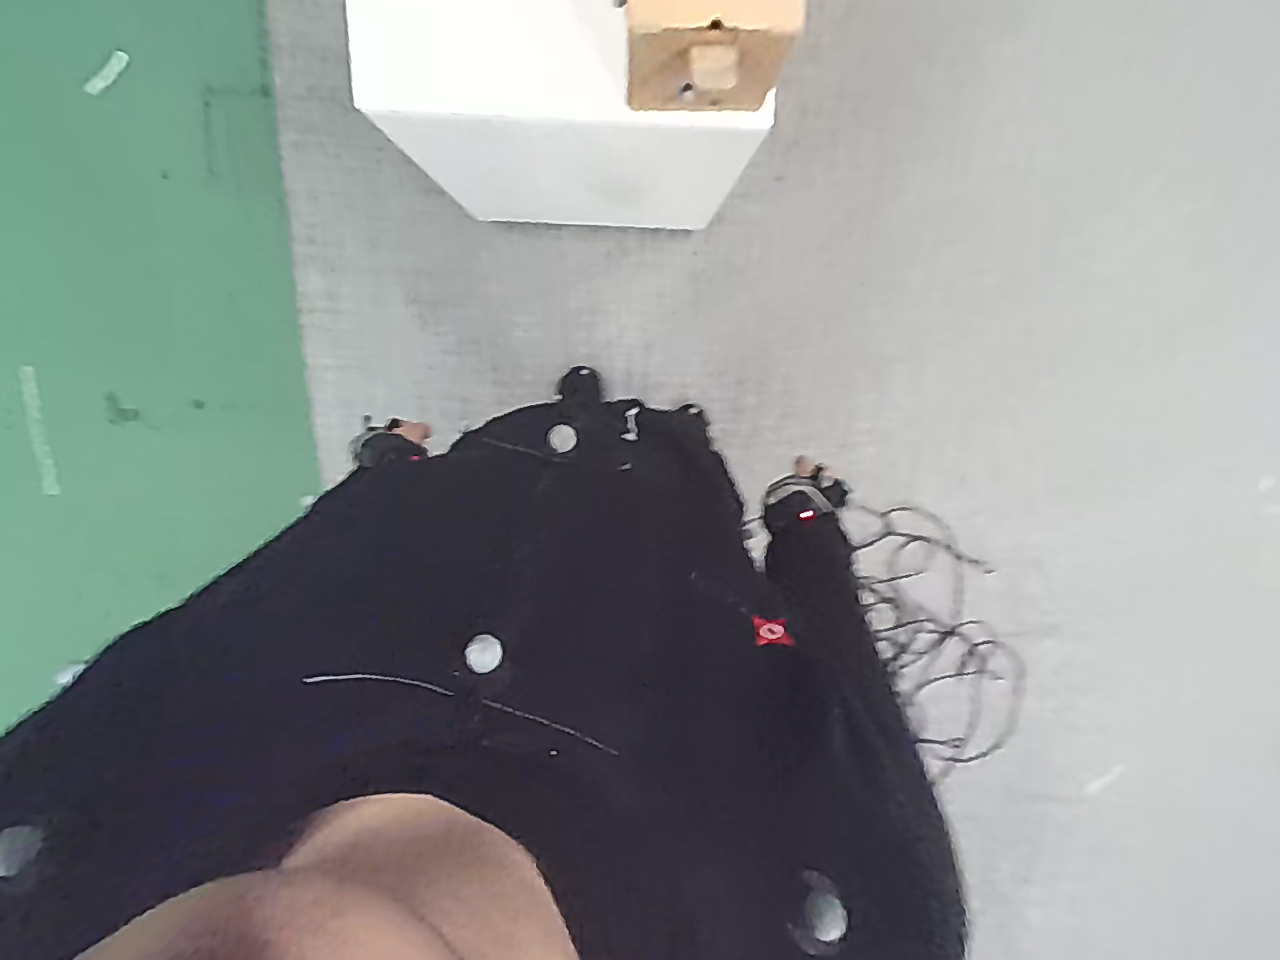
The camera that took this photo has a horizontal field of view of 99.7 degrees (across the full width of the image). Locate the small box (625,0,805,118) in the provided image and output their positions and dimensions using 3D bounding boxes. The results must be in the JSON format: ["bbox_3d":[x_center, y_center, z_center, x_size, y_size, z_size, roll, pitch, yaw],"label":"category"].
[{"bbox_3d":[0.069,-0.516,0.565,0.168,0.176,0.179,0,102,-2],"label":"small box"}]
